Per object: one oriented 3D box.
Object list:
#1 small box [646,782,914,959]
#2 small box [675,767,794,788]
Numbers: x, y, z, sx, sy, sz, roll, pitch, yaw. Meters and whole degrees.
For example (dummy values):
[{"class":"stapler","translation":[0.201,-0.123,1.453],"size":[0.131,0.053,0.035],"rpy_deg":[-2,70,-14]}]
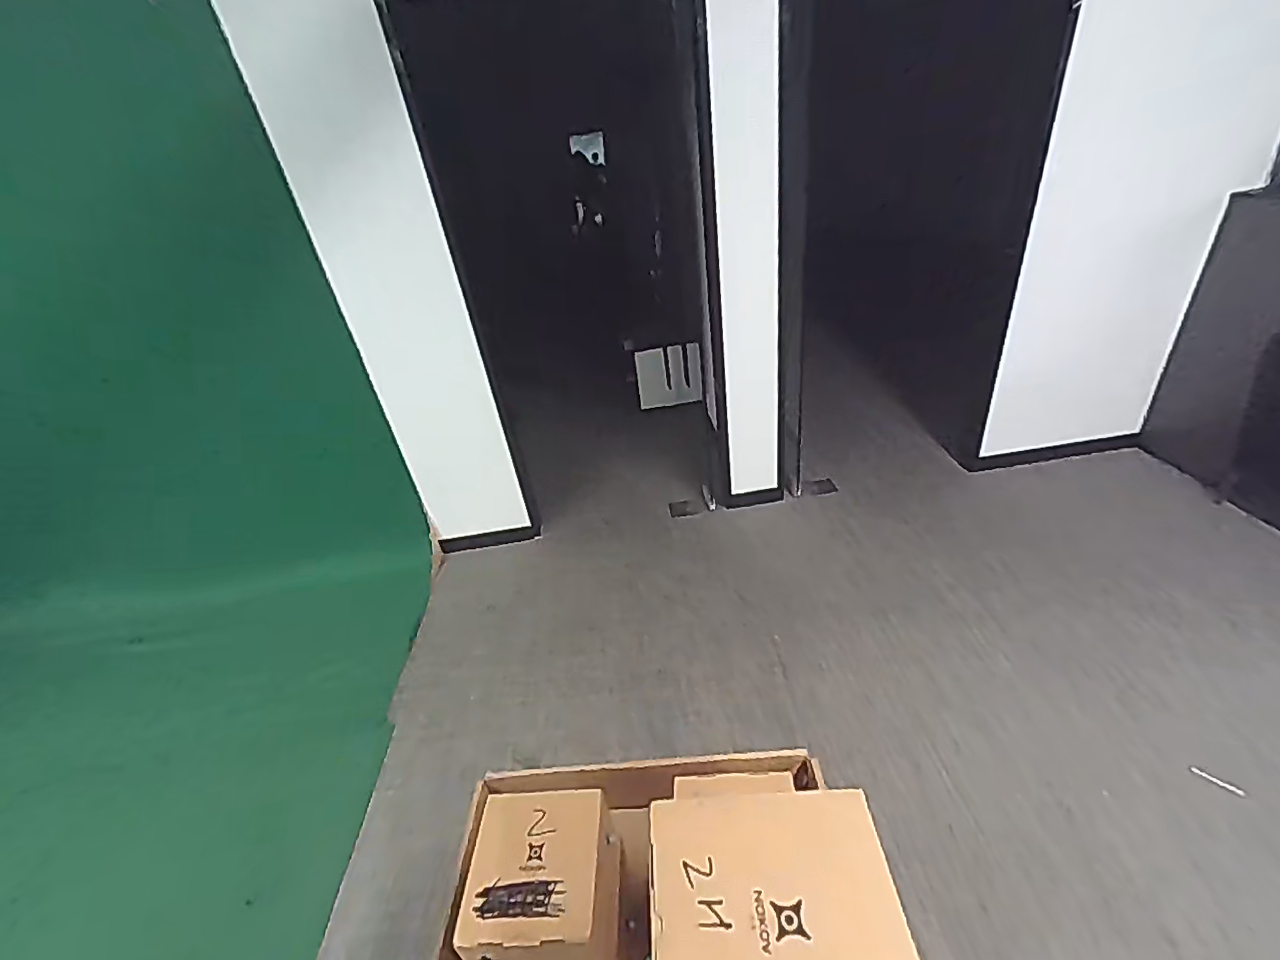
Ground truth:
[{"class":"small box","translation":[0.099,0.363,0.425],"size":[0.179,0.176,0.168],"rpy_deg":[-6,35,4]},{"class":"small box","translation":[0.137,0.519,0.730],"size":[0.168,0.176,0.179],"rpy_deg":[-6,33,7]}]
